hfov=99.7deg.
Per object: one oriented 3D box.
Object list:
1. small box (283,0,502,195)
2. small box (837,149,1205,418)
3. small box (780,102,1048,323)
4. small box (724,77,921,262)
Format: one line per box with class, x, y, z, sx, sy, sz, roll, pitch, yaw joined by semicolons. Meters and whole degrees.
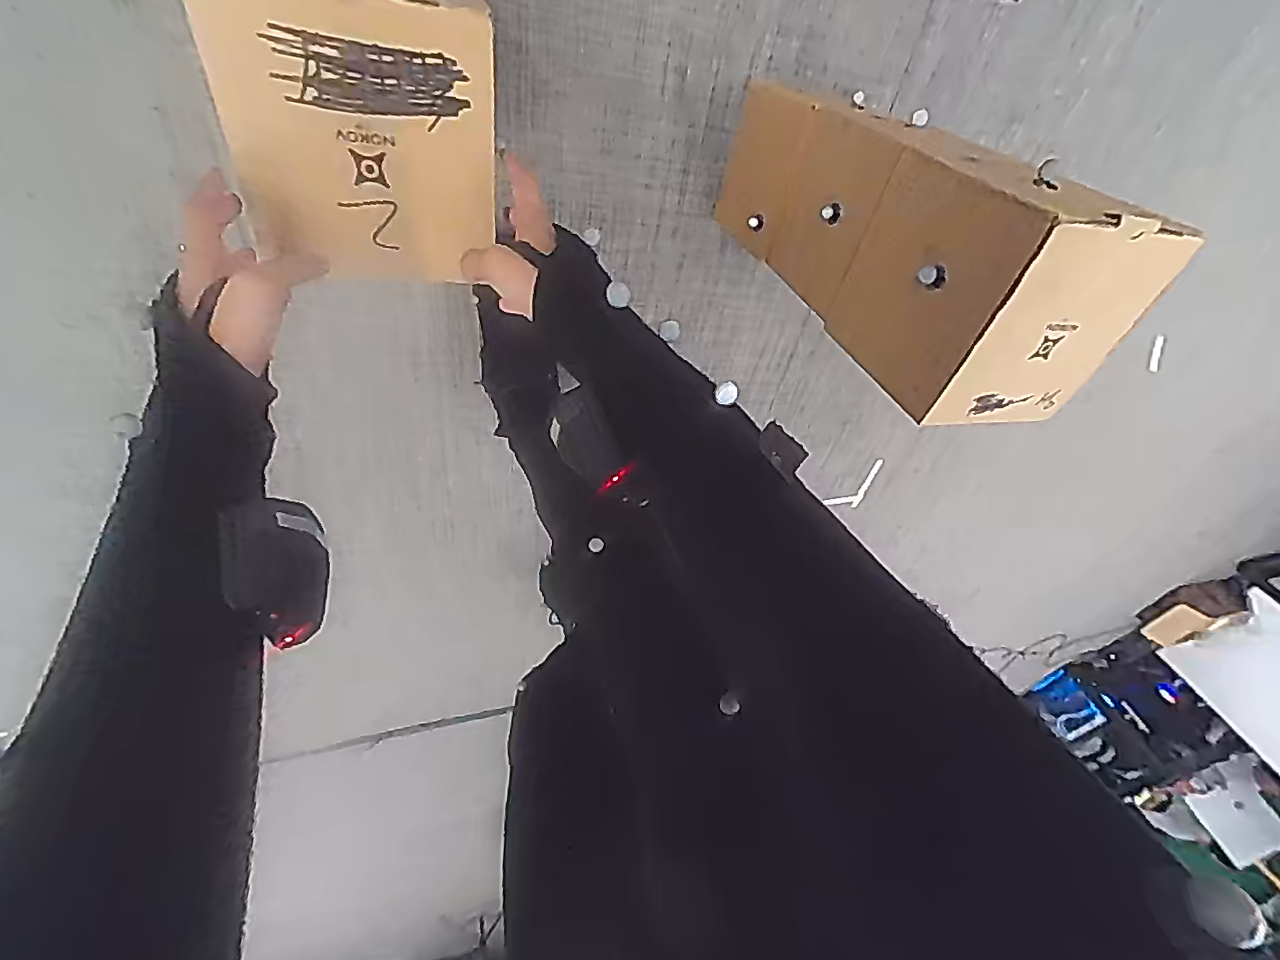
small box;-0.229;-0.403;0.529;0.168;0.176;0.179;-5;135;-16
small box;0.312;-0.176;0.488;0.168;0.176;0.179;-3;134;-19
small box;0.281;-0.290;0.604;0.168;0.176;0.179;-4;135;-19
small box;0.230;-0.402;0.712;0.168;0.176;0.179;-3;135;-19
